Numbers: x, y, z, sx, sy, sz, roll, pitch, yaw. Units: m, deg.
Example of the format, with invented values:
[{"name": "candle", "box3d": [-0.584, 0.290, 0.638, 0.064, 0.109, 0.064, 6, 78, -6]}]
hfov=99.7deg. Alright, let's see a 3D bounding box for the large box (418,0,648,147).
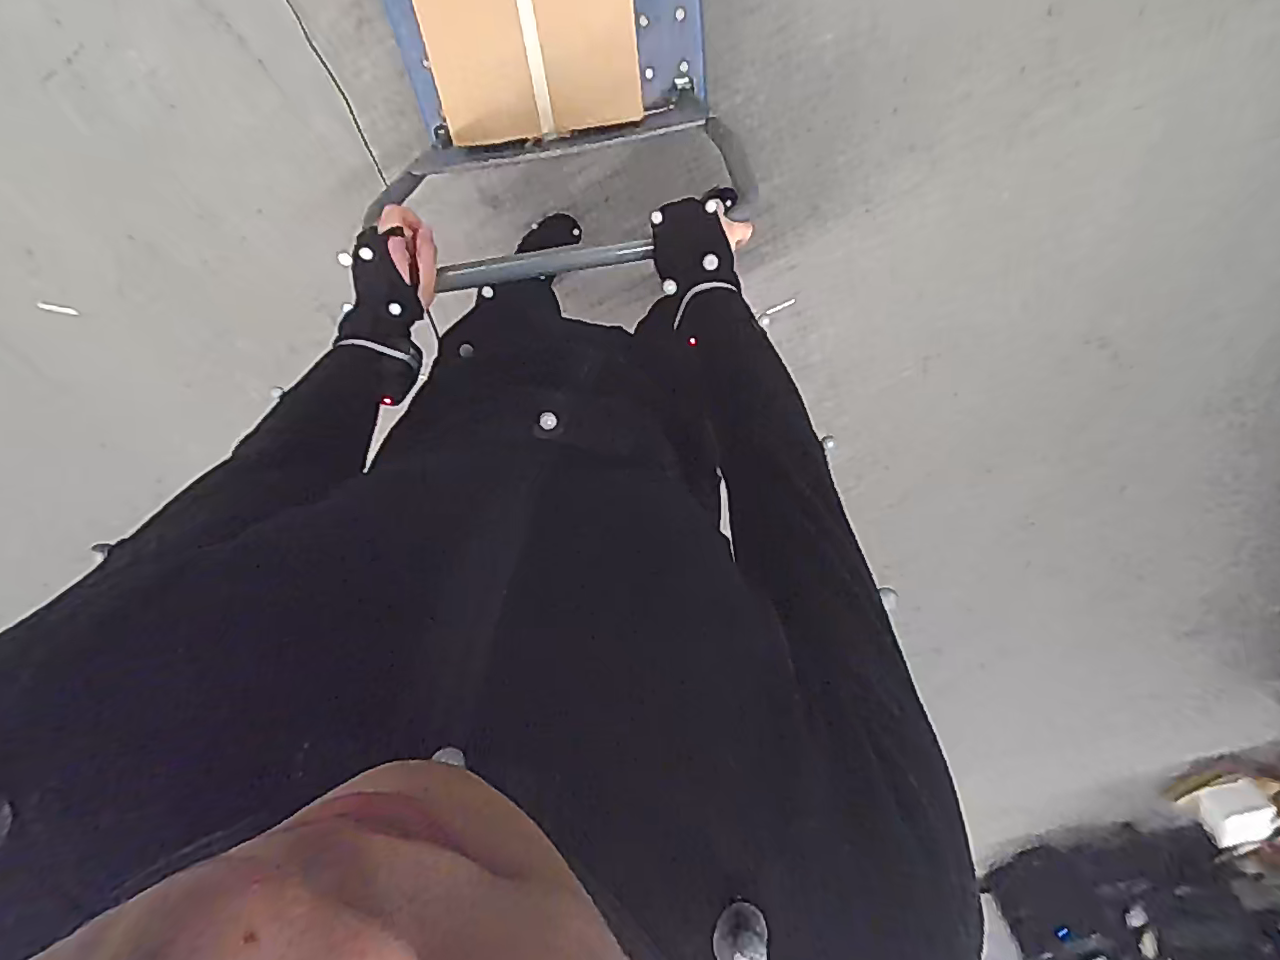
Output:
[{"name": "large box", "box3d": [-0.169, -0.803, 0.863, 0.320, 0.320, 0.408, -7, 128, 3]}]
